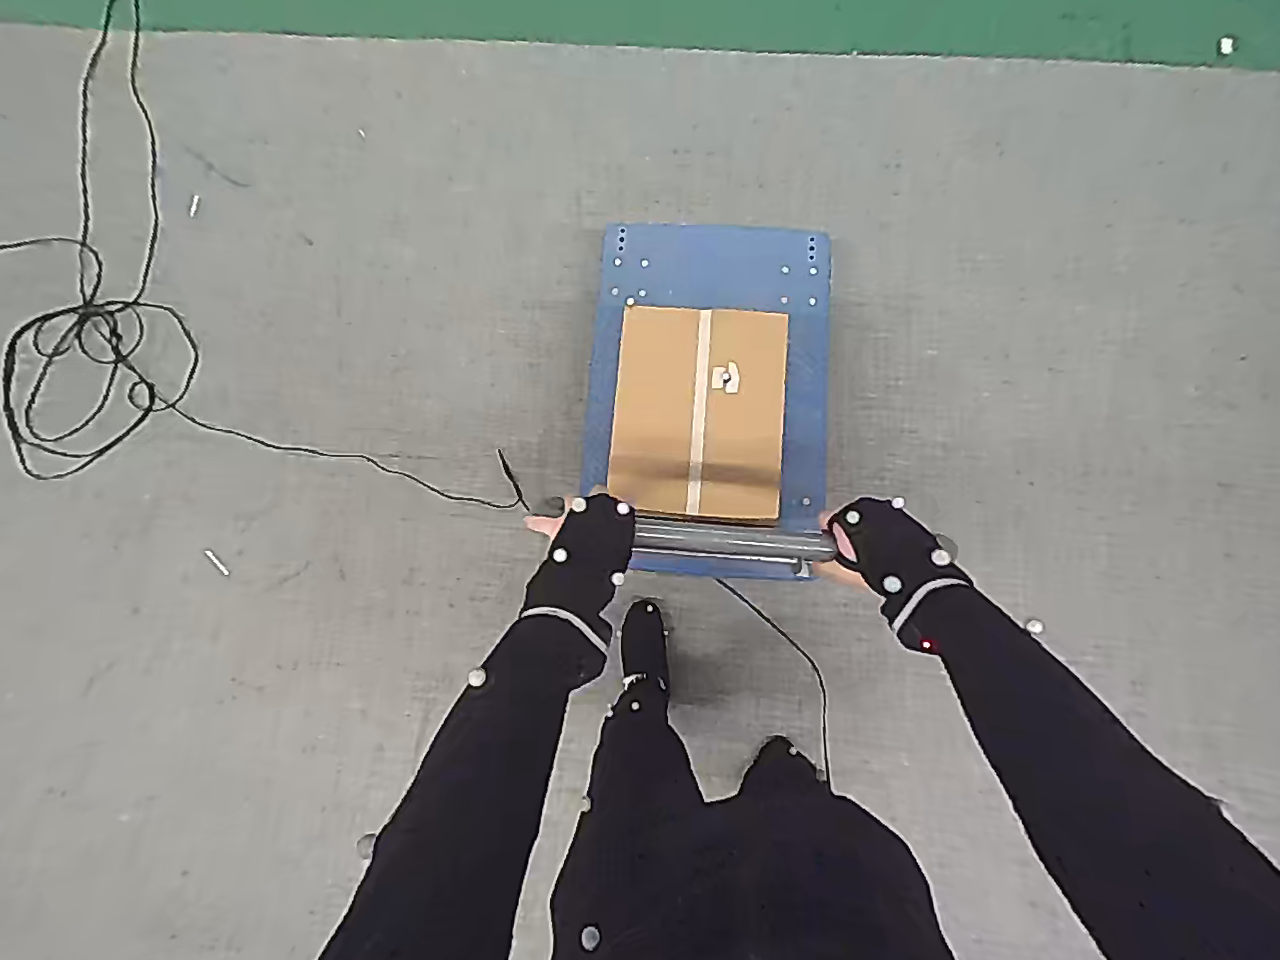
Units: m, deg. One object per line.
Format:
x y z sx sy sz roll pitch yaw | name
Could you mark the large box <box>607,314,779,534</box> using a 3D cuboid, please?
0.112 -0.098 1.172 0.320 0.320 0.408 4 80 3 | large box
